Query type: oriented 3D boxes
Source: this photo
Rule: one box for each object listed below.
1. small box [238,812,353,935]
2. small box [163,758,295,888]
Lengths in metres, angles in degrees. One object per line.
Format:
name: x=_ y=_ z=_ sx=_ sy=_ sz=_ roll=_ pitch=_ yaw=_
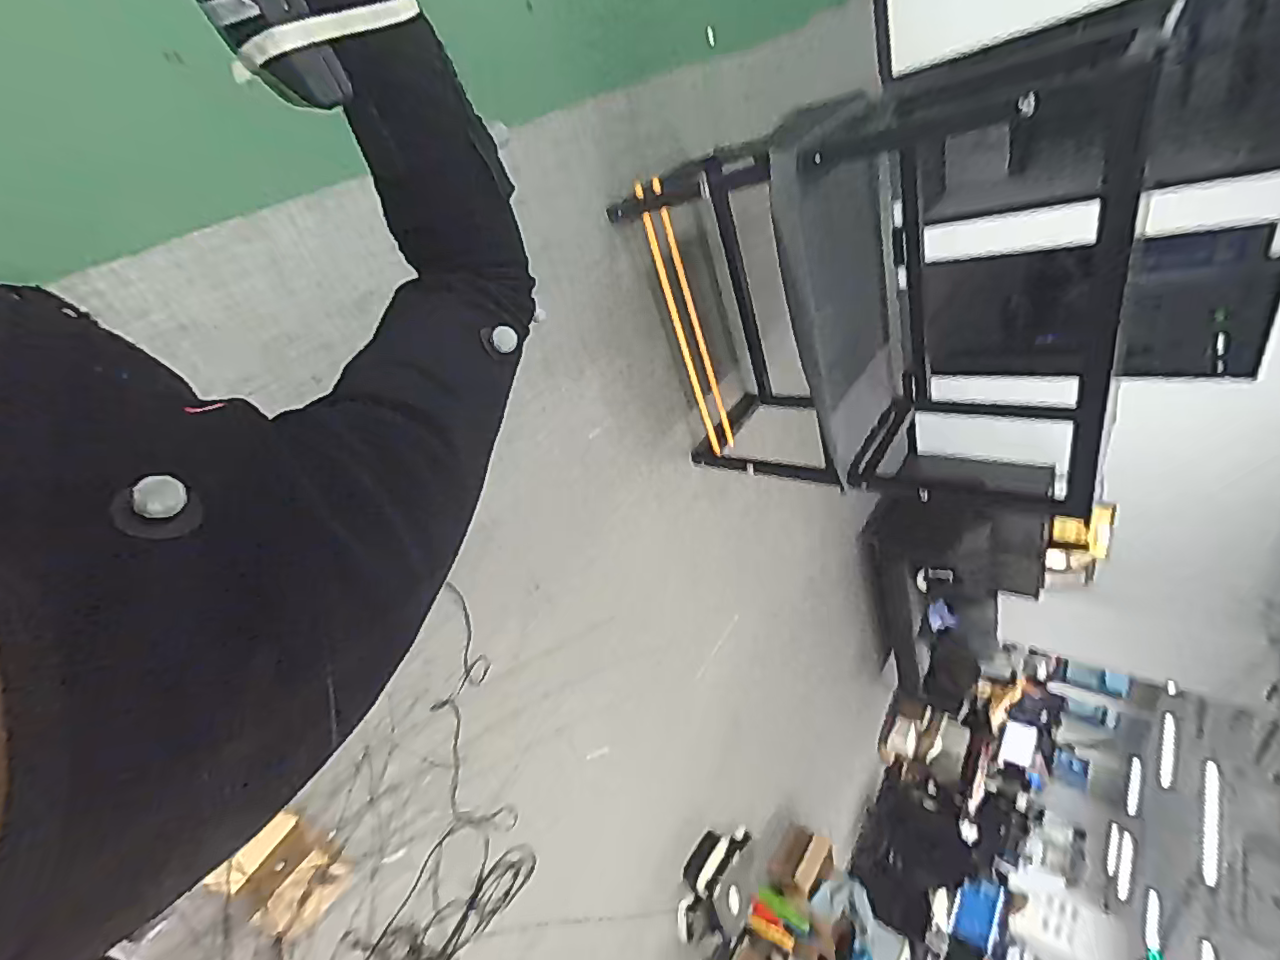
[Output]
small box: x=-0.896 y=1.006 z=1.396 sx=0.179 sy=0.176 sz=0.168 roll=-48 pitch=131 yaw=-30
small box: x=-0.968 y=0.797 z=1.268 sx=0.179 sy=0.176 sz=0.168 roll=-52 pitch=133 yaw=-29
